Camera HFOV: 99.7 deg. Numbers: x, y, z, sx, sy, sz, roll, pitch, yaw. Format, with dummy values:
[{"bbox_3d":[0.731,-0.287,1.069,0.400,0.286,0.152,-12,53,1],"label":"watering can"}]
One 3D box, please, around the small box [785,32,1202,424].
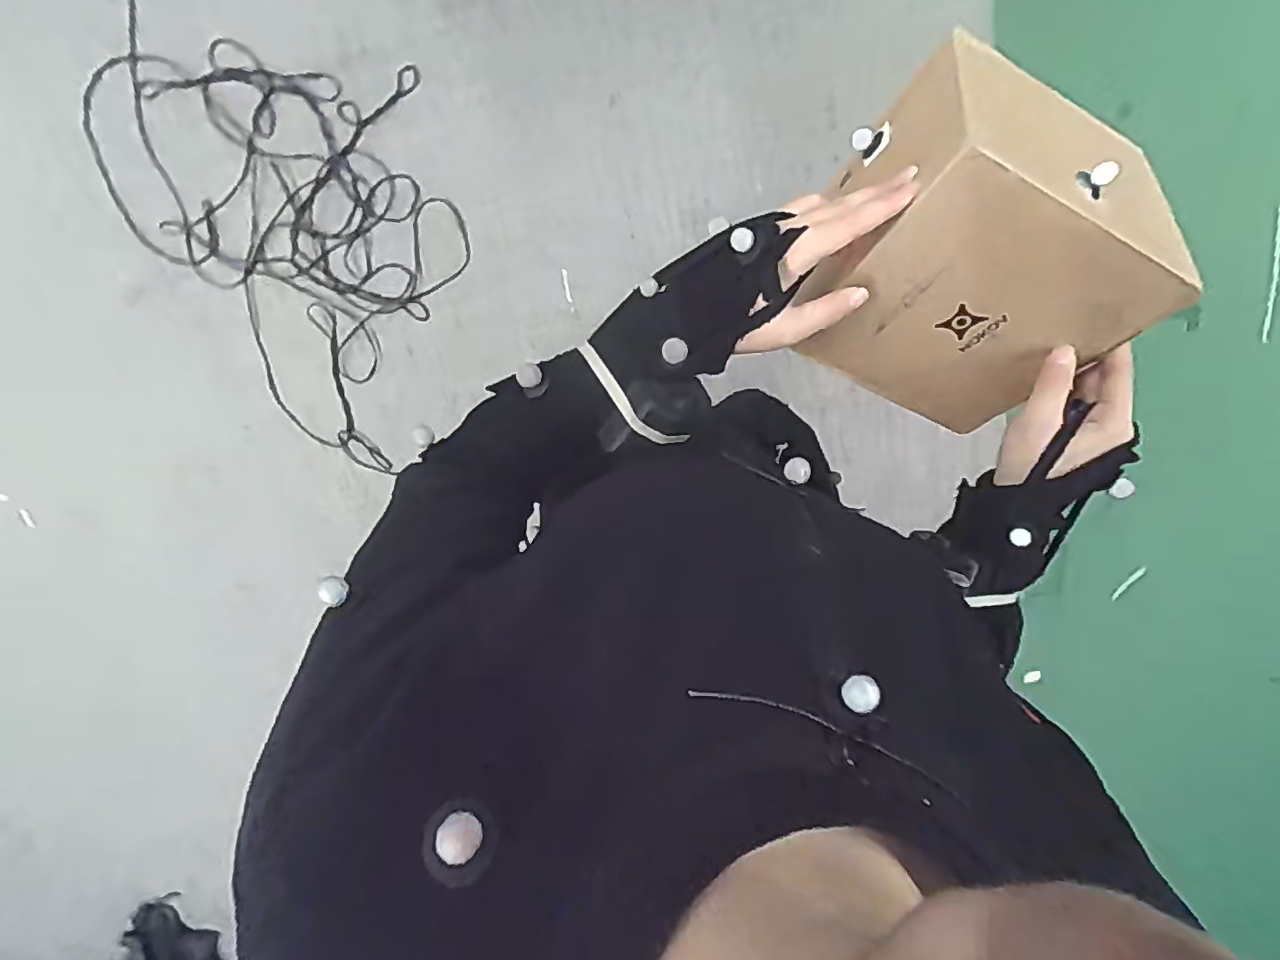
[{"bbox_3d":[0.232,-0.177,0.397,0.179,0.176,0.168,22,147,-9],"label":"small box"}]
